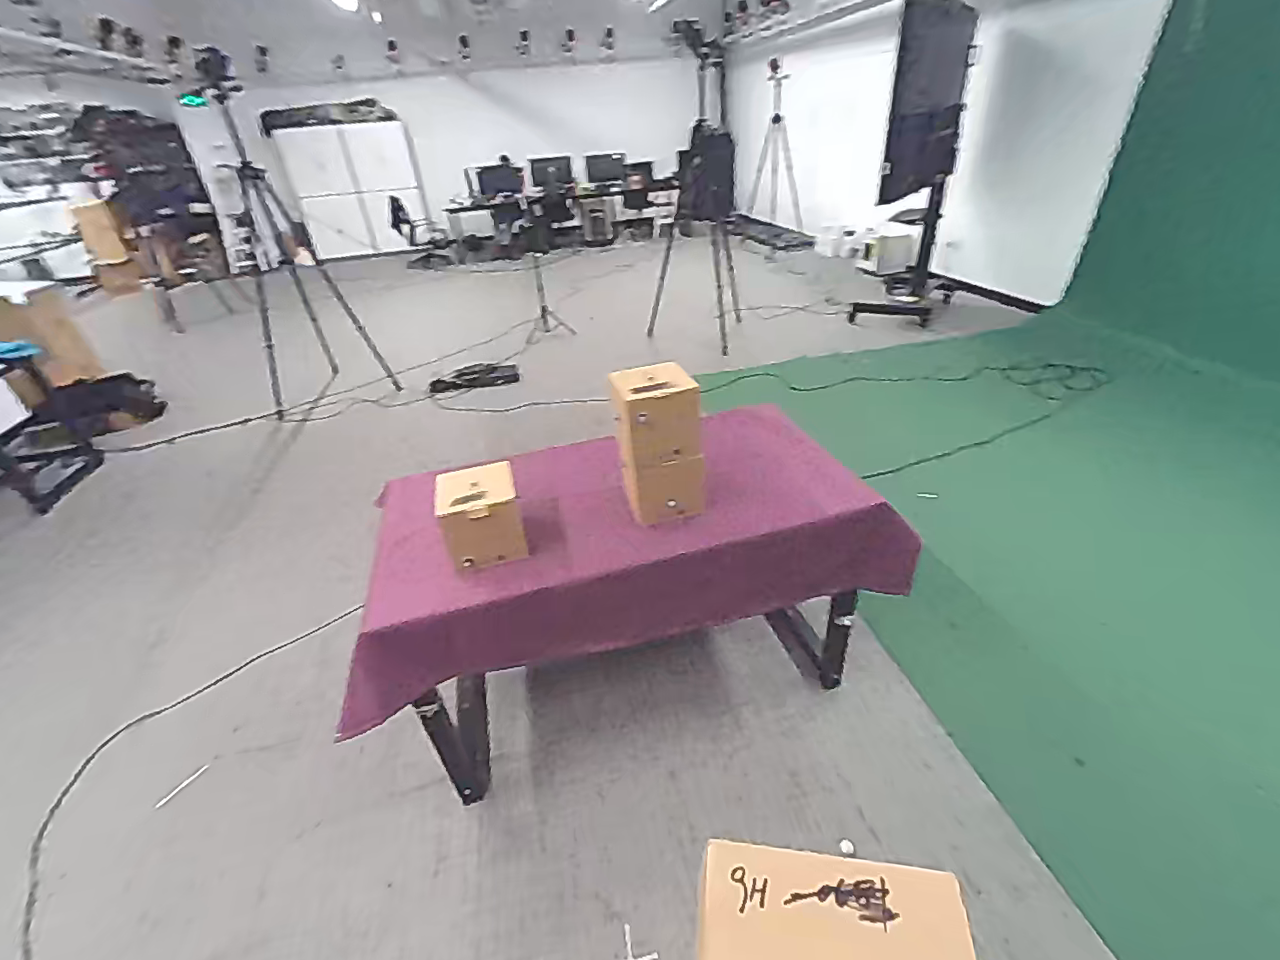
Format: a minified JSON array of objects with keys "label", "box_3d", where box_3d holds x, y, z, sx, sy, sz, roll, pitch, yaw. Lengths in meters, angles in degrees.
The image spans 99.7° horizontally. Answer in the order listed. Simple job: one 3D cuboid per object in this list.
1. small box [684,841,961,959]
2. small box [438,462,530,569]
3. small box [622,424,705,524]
[{"label":"small box","box_3d":[0.112,0.372,0.368,0.168,0.176,0.179,3,48,6]},{"label":"small box","box_3d":[-0.355,0.086,1.242,0.168,0.176,0.179,-13,33,-12]},{"label":"small box","box_3d":[0.056,-0.016,1.333,0.168,0.176,0.179,-12,34,-8]}]
